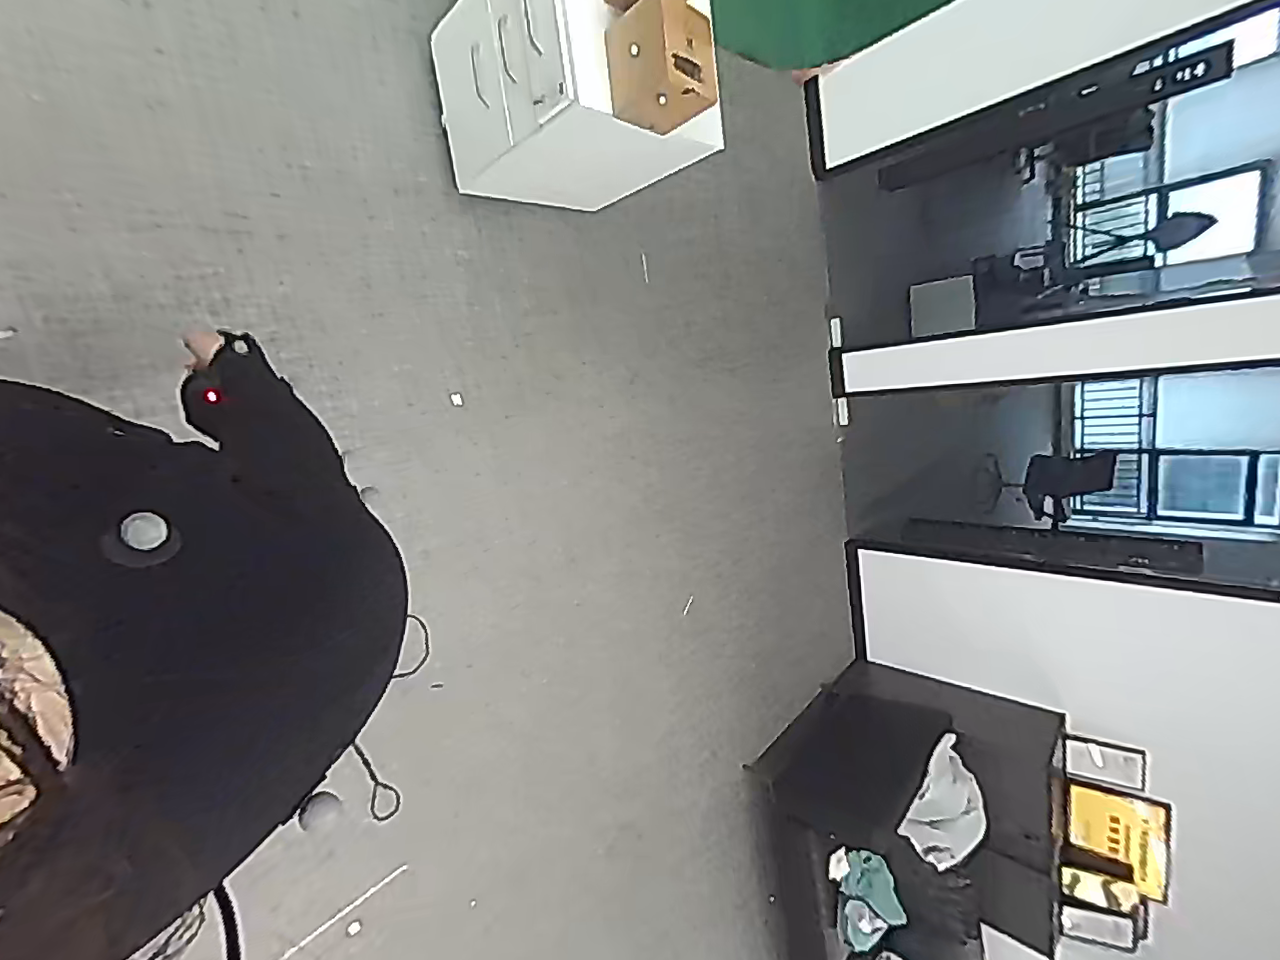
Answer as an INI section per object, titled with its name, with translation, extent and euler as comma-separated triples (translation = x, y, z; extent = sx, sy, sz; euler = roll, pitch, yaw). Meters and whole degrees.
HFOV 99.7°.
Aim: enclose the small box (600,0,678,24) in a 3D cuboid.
[small box]
translation = 0.002, -1.134, 1.149
extent = 0.168, 0.176, 0.179
euler = -19, 106, -43
